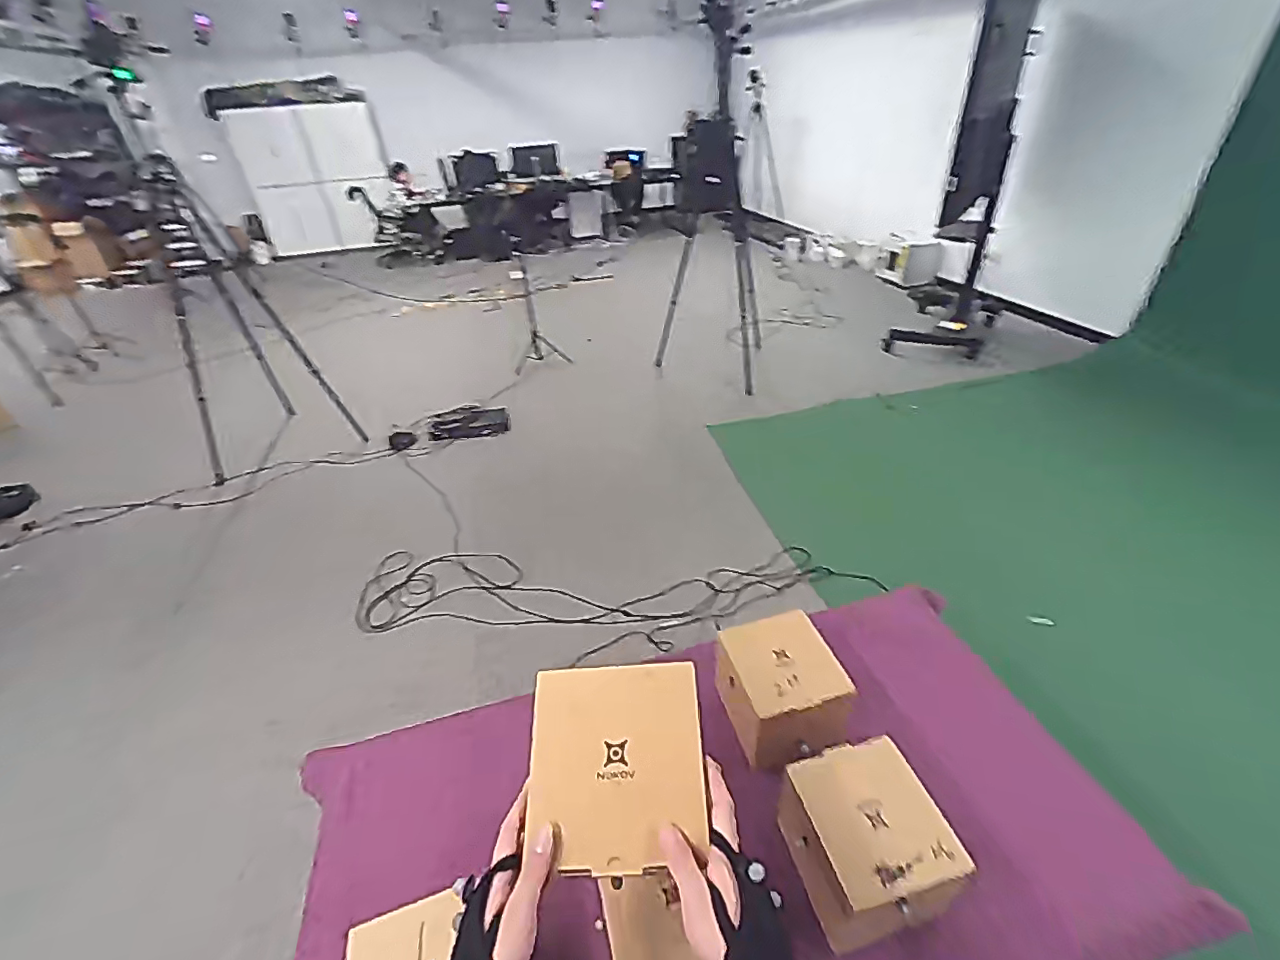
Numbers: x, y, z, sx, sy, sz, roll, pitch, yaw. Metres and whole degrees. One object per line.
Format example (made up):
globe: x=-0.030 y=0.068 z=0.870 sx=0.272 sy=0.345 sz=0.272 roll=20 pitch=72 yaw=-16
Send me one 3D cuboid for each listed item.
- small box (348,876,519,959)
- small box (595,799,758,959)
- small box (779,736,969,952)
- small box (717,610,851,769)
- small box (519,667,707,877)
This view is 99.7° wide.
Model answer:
small box: x=-0.234 y=0.625 z=0.638 sx=0.168 sy=0.176 sz=0.179 roll=-14 pitch=34 yaw=-13
small box: x=0.038 y=0.561 z=0.698 sx=0.168 sy=0.176 sz=0.179 roll=-13 pitch=36 yaw=-9
small box: x=0.303 y=0.497 z=0.747 sx=0.168 sy=0.176 sz=0.179 roll=-12 pitch=35 yaw=-8
small box: x=0.238 y=0.363 z=0.944 sx=0.168 sy=0.176 sz=0.179 roll=-12 pitch=36 yaw=-9
small box: x=-0.018 y=0.315 z=0.578 sx=0.168 sy=0.176 sz=0.179 roll=-4 pitch=55 yaw=4
